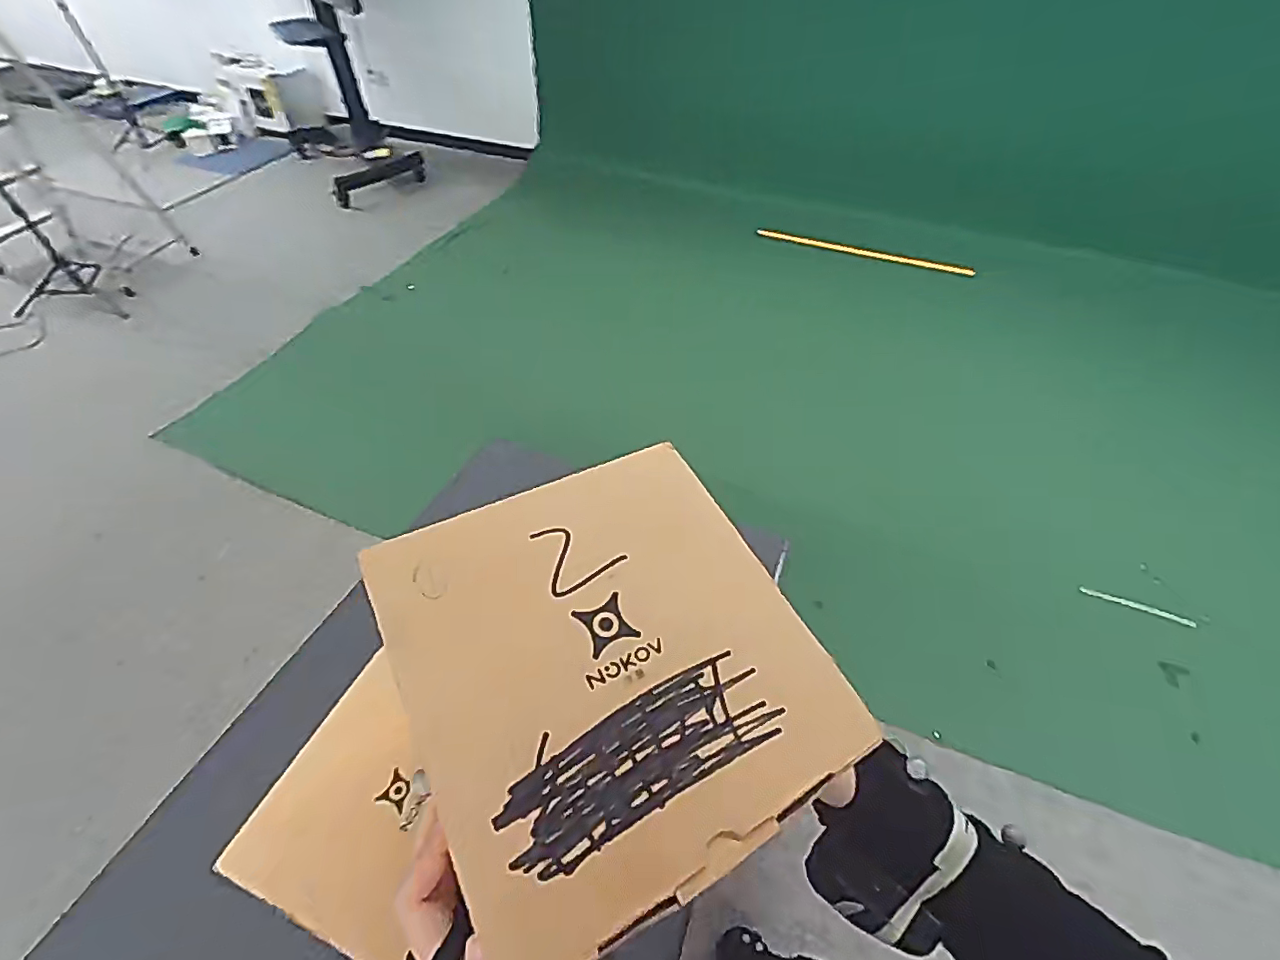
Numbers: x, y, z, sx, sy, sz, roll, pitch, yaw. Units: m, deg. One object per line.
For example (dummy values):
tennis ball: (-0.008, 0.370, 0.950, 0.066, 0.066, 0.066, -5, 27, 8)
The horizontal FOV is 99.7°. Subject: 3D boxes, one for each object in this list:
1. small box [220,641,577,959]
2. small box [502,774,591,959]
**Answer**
small box: (-0.166, 0.266, 0.437, 0.179, 0.176, 0.168, 18, 51, 13)
small box: (-0.164, 0.373, 0.559, 0.179, 0.176, 0.168, 19, 52, 14)
